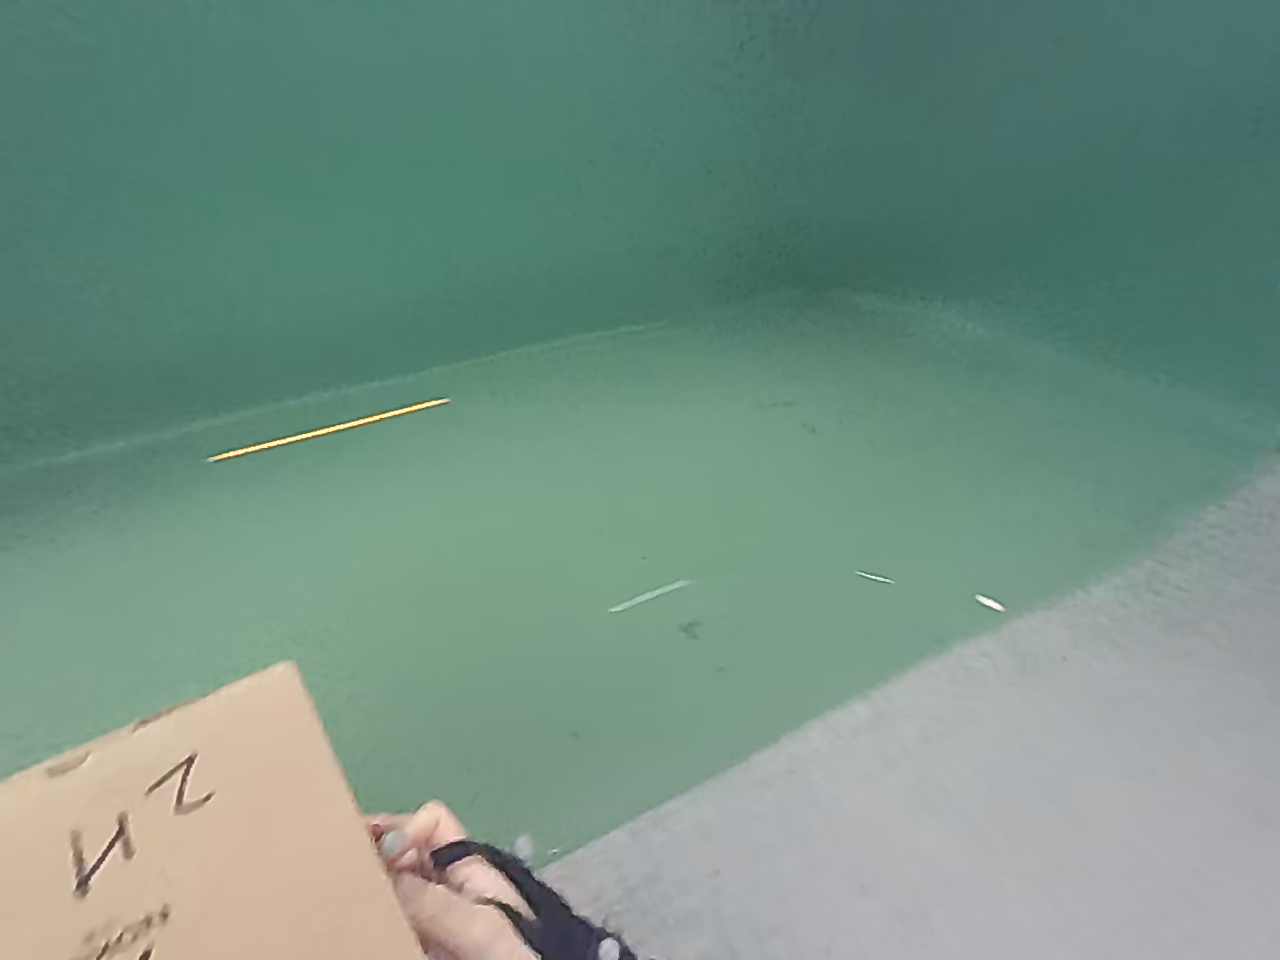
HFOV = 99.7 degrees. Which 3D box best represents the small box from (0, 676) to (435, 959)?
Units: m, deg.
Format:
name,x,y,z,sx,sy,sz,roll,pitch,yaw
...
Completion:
name,x,y,z,sx,sy,sz,roll,pitch,yaw
small box,-0.203,0.234,0.254,0.168,0.176,0.179,-20,61,-38
